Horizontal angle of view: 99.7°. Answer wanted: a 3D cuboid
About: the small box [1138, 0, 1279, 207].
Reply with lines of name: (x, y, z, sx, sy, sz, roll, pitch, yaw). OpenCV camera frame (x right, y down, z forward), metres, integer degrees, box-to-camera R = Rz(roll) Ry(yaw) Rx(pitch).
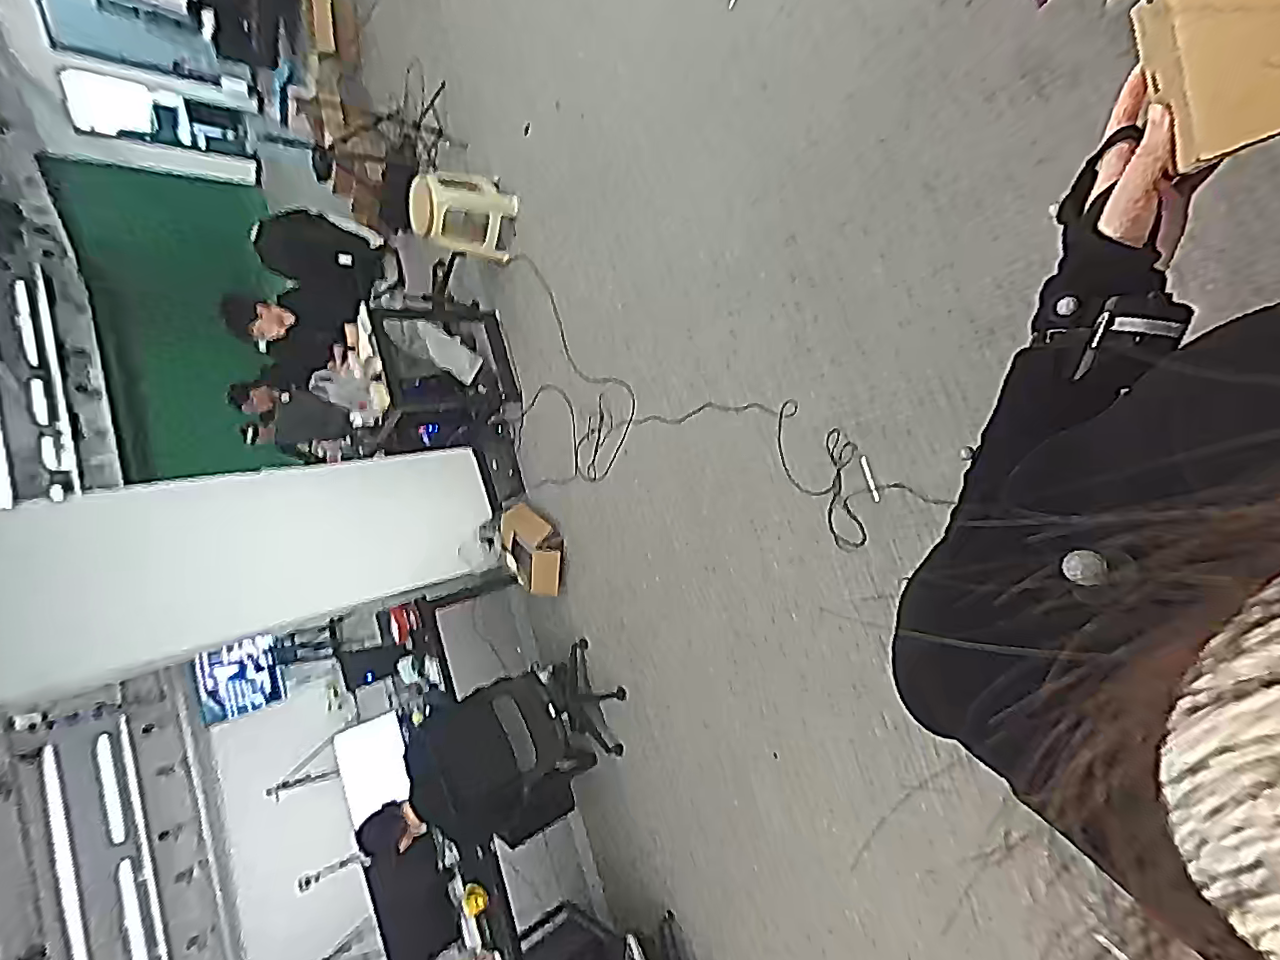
small box: (0.352, -0.259, 0.214, 0.168, 0.176, 0.179, -17, 82, 24)
